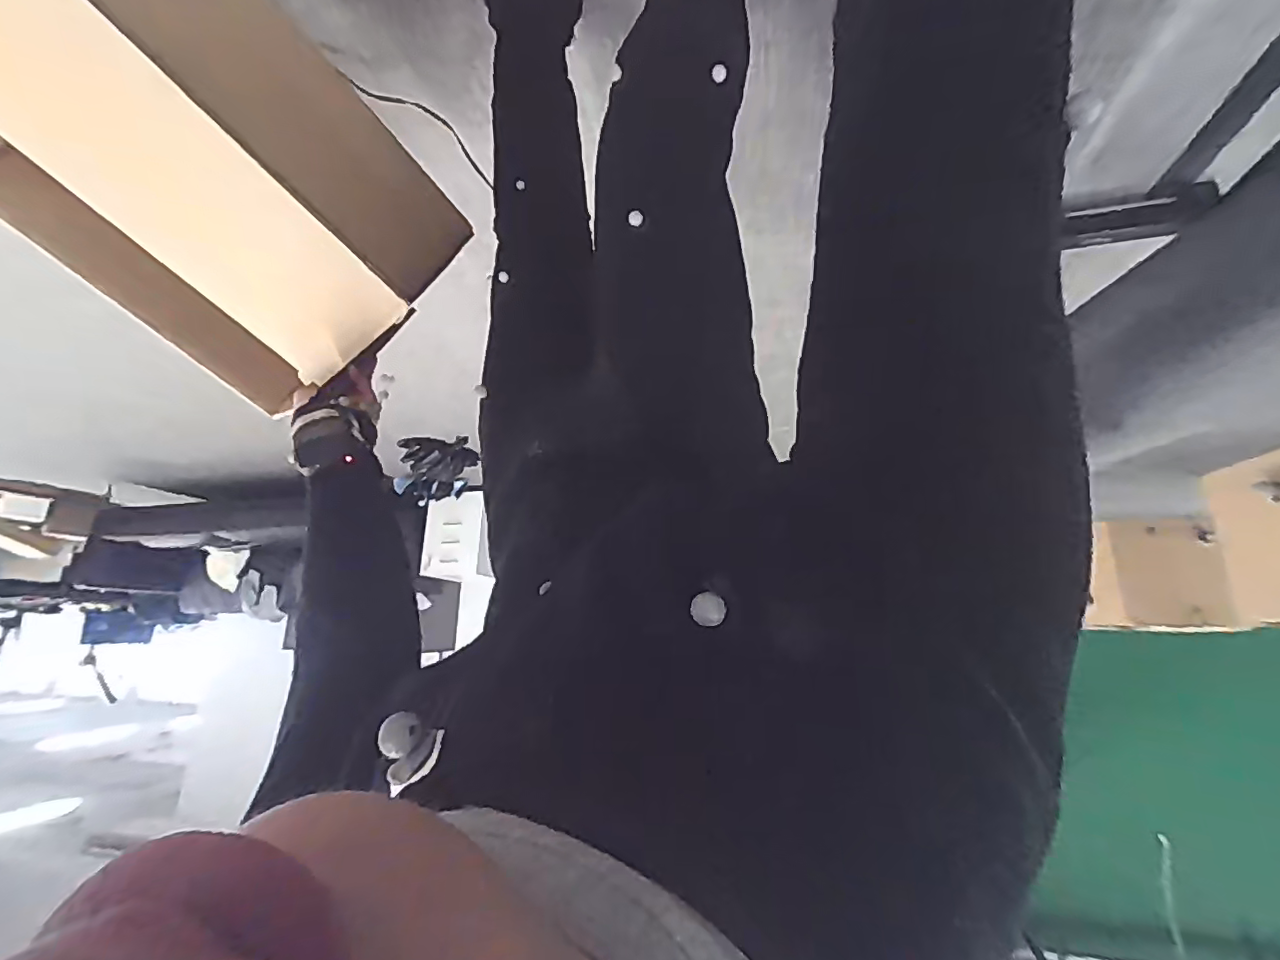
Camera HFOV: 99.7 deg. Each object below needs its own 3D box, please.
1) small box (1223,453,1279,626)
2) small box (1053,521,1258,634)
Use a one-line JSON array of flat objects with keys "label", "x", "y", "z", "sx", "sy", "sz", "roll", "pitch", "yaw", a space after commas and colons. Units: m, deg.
[{"label": "small box", "x": 0.696, "y": 0.048, "z": 0.488, "sx": 0.168, "sy": 0.176, "sz": 0.179, "roll": -2, "pitch": 165, "yaw": 12}, {"label": "small box", "x": 0.819, "y": 0.163, "z": 0.886, "sx": 0.168, "sy": 0.176, "sz": 0.179, "roll": -1, "pitch": 165, "yaw": 8}]
